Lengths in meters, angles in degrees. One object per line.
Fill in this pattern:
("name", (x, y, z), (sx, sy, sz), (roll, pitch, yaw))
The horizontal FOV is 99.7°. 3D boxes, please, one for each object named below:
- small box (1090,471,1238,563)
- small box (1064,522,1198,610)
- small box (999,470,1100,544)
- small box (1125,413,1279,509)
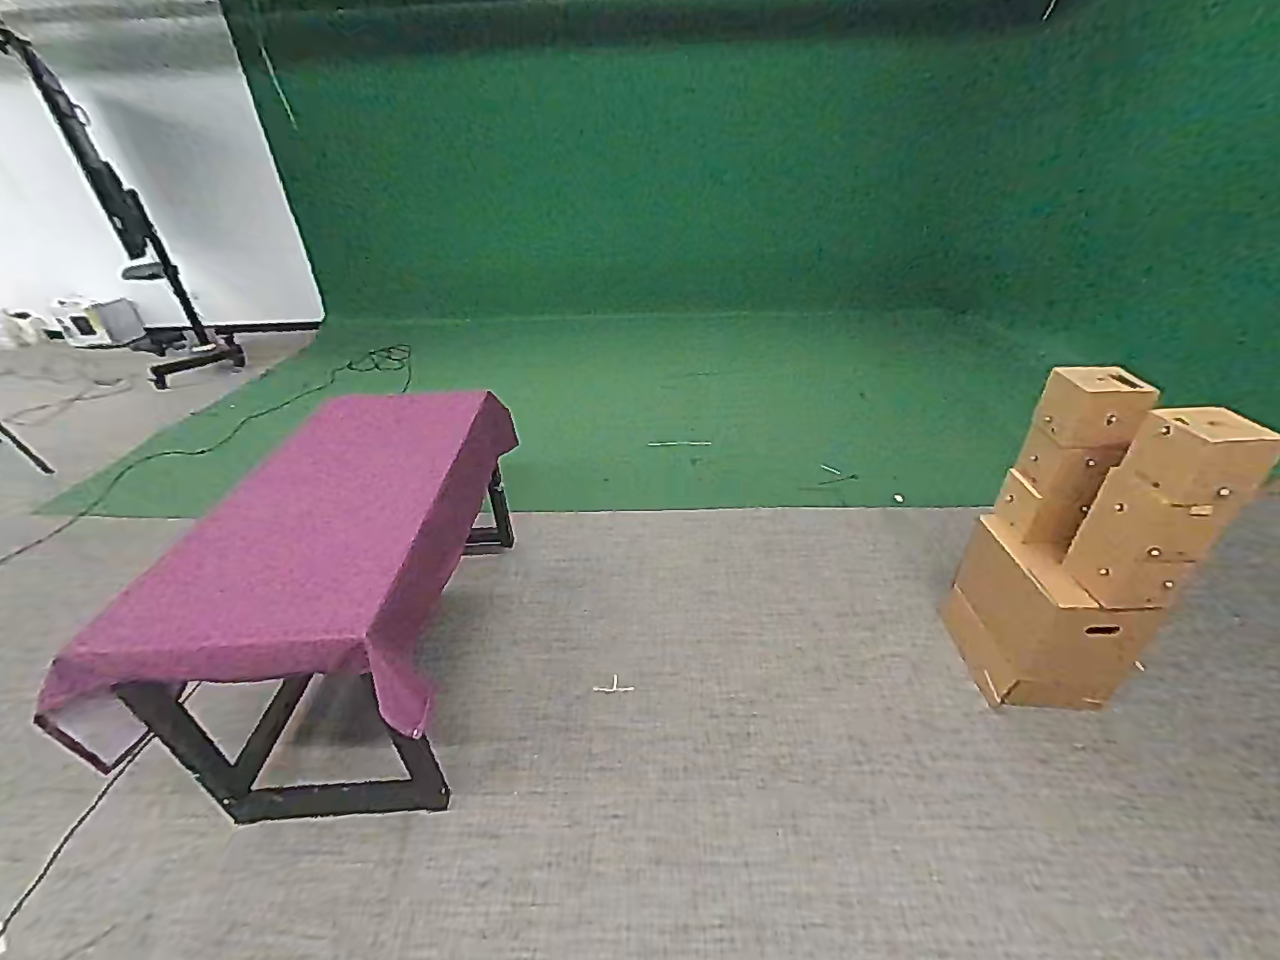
("small box", (1.283, 0.091, 1.342), (0.168, 0.176, 0.179), (1, 31, 1))
("small box", (1.286, 0.228, 1.432), (0.168, 0.176, 0.179), (0, 32, 0))
("small box", (1.236, 0.082, 1.653), (0.179, 0.176, 0.168), (1, 35, 2))
("small box", (1.295, -0.043, 1.247), (0.179, 0.176, 0.168), (0, 32, -1))
